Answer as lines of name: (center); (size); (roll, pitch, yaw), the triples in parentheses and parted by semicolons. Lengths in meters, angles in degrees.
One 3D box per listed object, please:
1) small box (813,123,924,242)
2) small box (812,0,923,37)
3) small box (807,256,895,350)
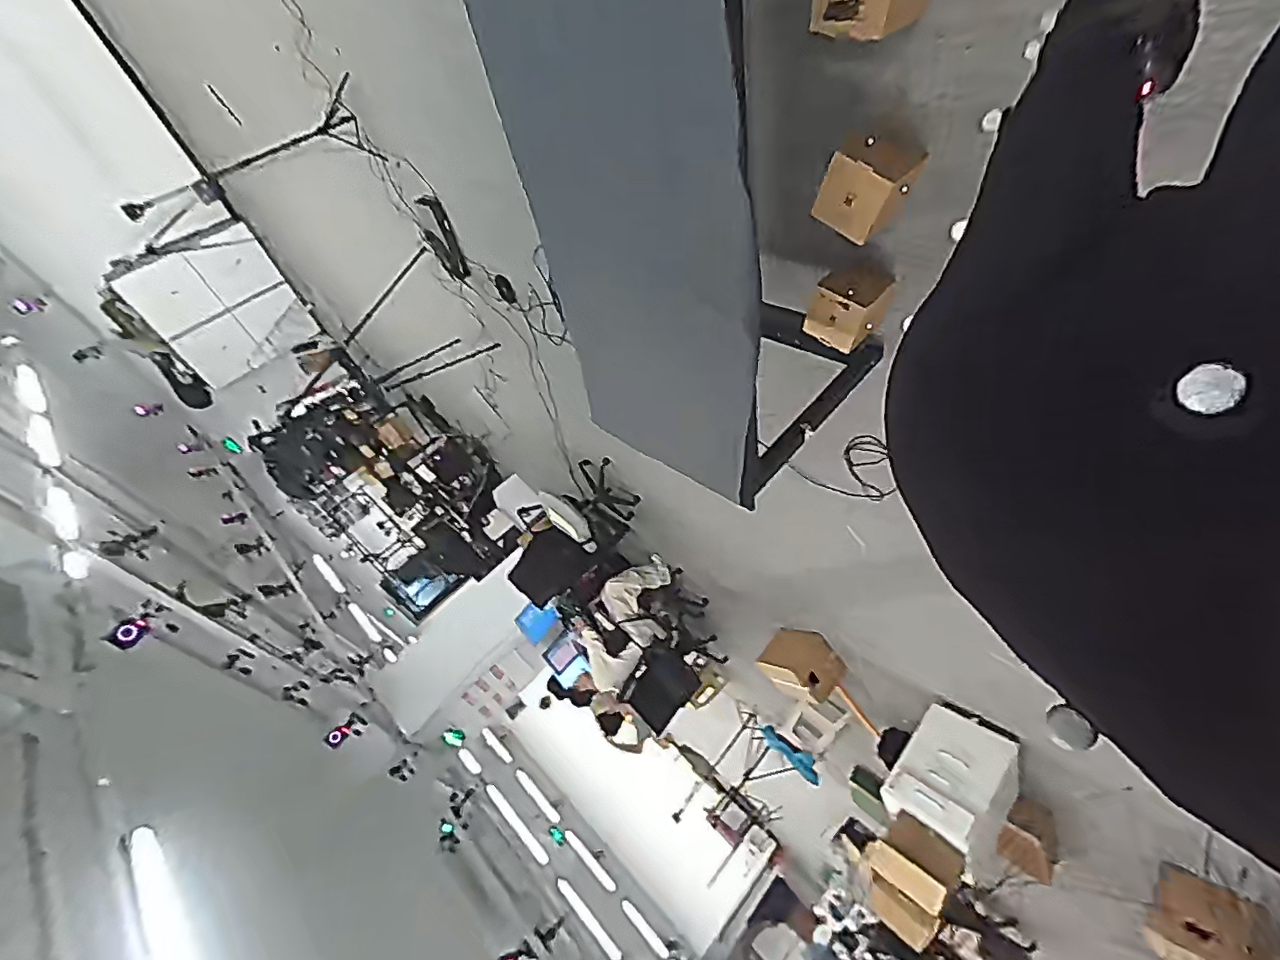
small box: (0.572, -0.745, 1.350); (0.168, 0.176, 0.179); (41, 159, 15)
small box: (0.466, -1.018, 1.068); (0.168, 0.176, 0.179); (33, 154, 28)
small box: (0.630, -0.530, 1.617); (0.168, 0.176, 0.179); (36, 157, 22)
